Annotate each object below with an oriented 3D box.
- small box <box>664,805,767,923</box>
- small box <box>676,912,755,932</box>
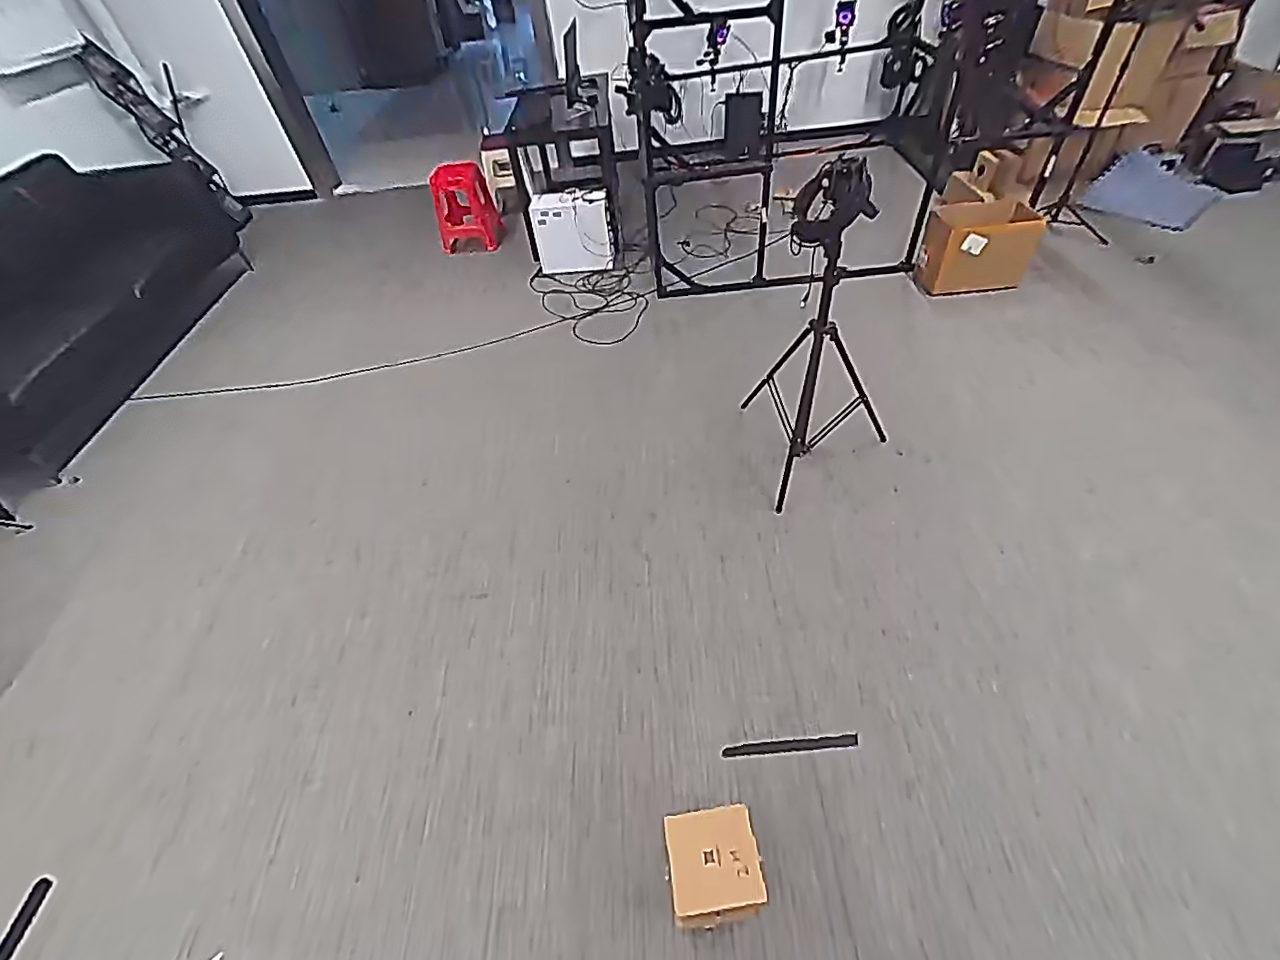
[{"bbox_3d":[0.154,0.794,1.116,0.179,0.176,0.168,-9,47,0],"label":"small box"},{"bbox_3d":[0.158,0.908,1.235,0.168,0.176,0.179,-9,48,1],"label":"small box"}]
